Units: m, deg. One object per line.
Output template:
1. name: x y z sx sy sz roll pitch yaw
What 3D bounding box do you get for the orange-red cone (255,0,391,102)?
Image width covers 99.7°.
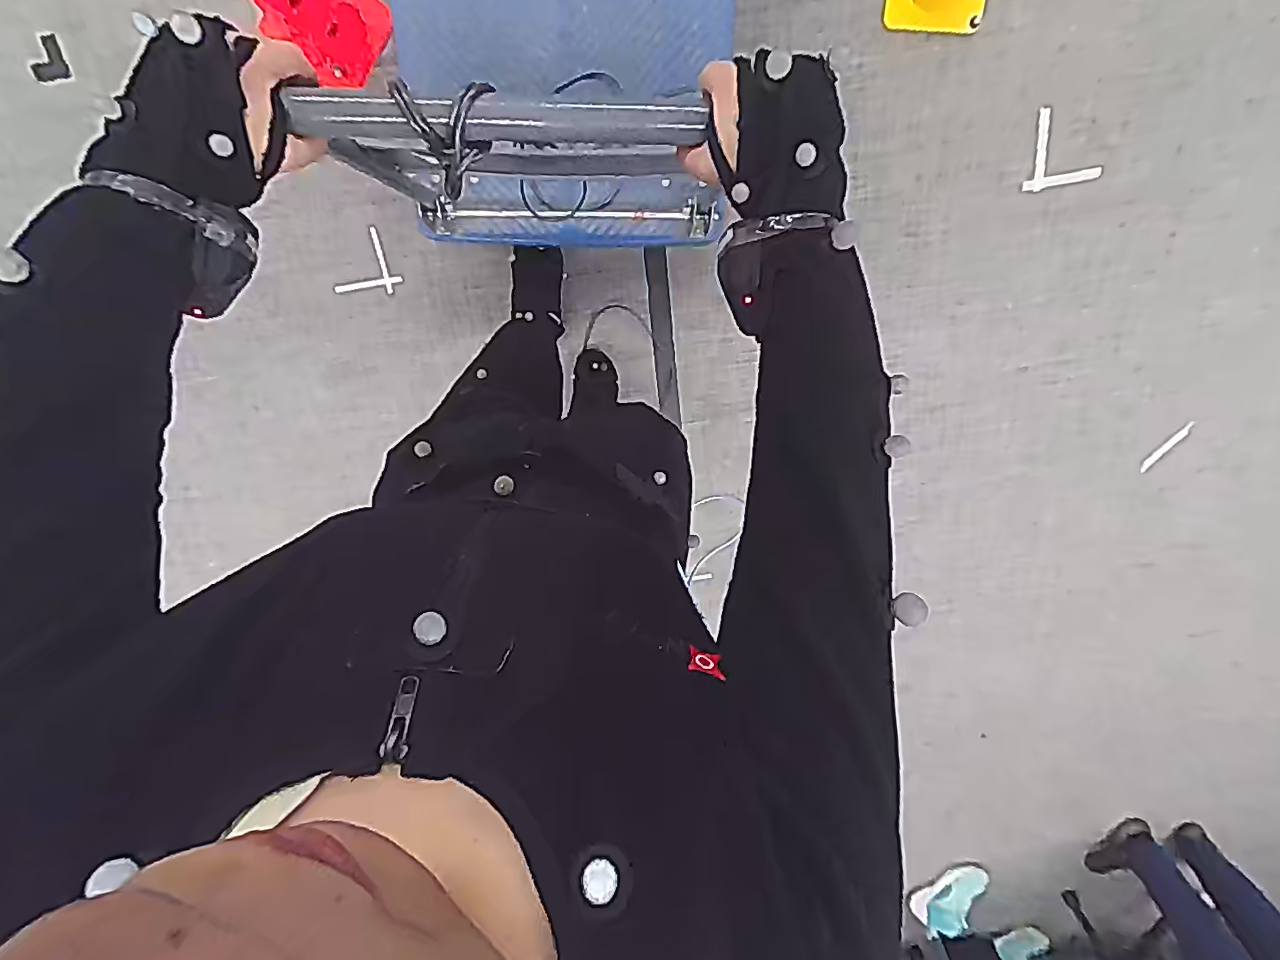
1. orange-red cone: -0.585 -0.801 0.862 0.198 0.360 0.199 35 104 -16
